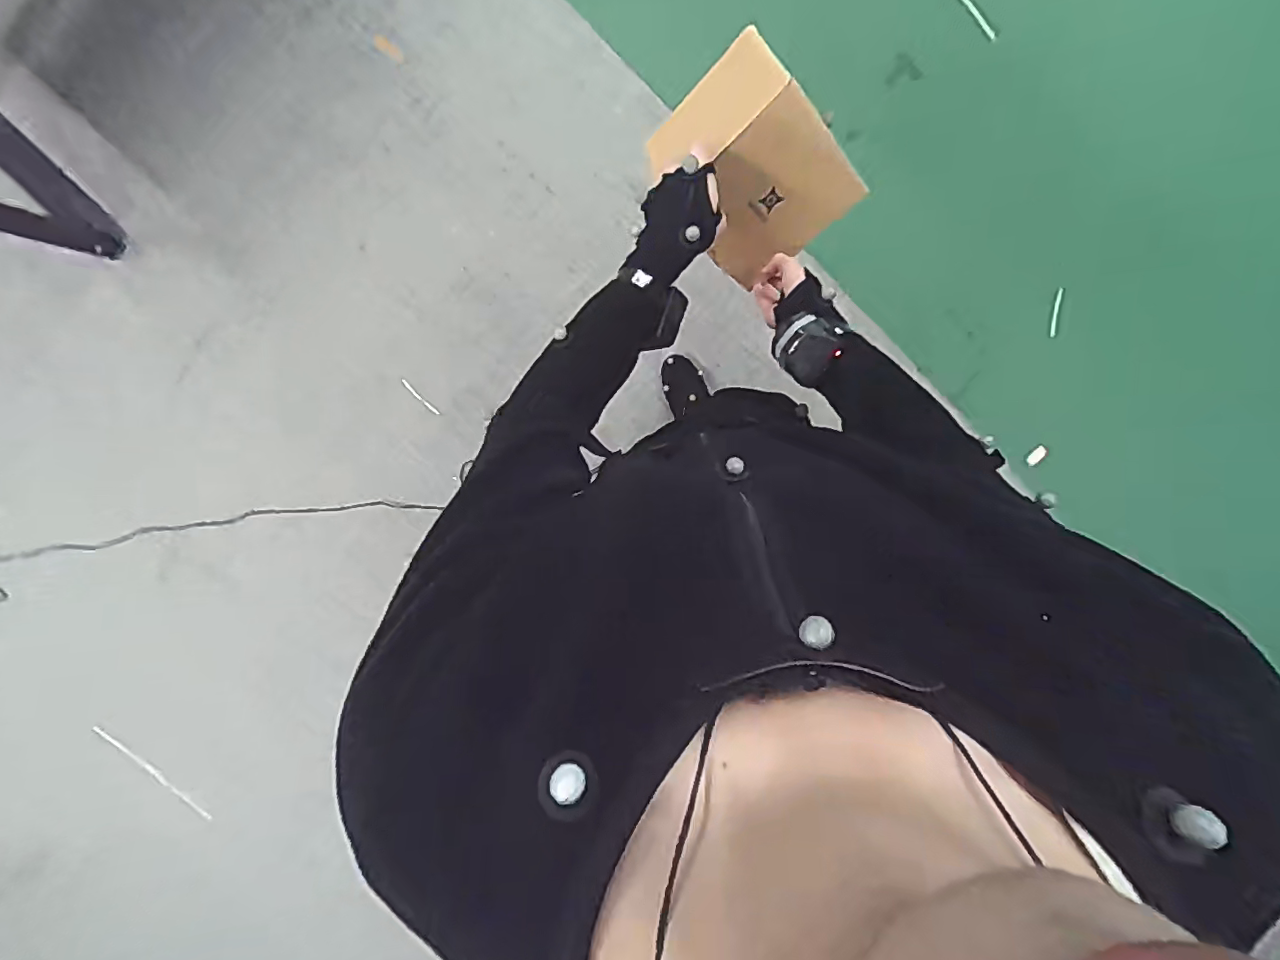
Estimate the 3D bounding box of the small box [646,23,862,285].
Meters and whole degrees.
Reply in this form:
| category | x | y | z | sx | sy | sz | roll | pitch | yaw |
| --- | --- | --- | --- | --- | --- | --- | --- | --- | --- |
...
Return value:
| category | x | y | z | sx | sy | sz | roll | pitch | yaw |
| --- | --- | --- | --- | --- | --- | --- | --- | --- | --- |
| small box | 0.125 | -0.383 | 0.647 | 0.168 | 0.176 | 0.179 | 25 | 134 | -39 |
